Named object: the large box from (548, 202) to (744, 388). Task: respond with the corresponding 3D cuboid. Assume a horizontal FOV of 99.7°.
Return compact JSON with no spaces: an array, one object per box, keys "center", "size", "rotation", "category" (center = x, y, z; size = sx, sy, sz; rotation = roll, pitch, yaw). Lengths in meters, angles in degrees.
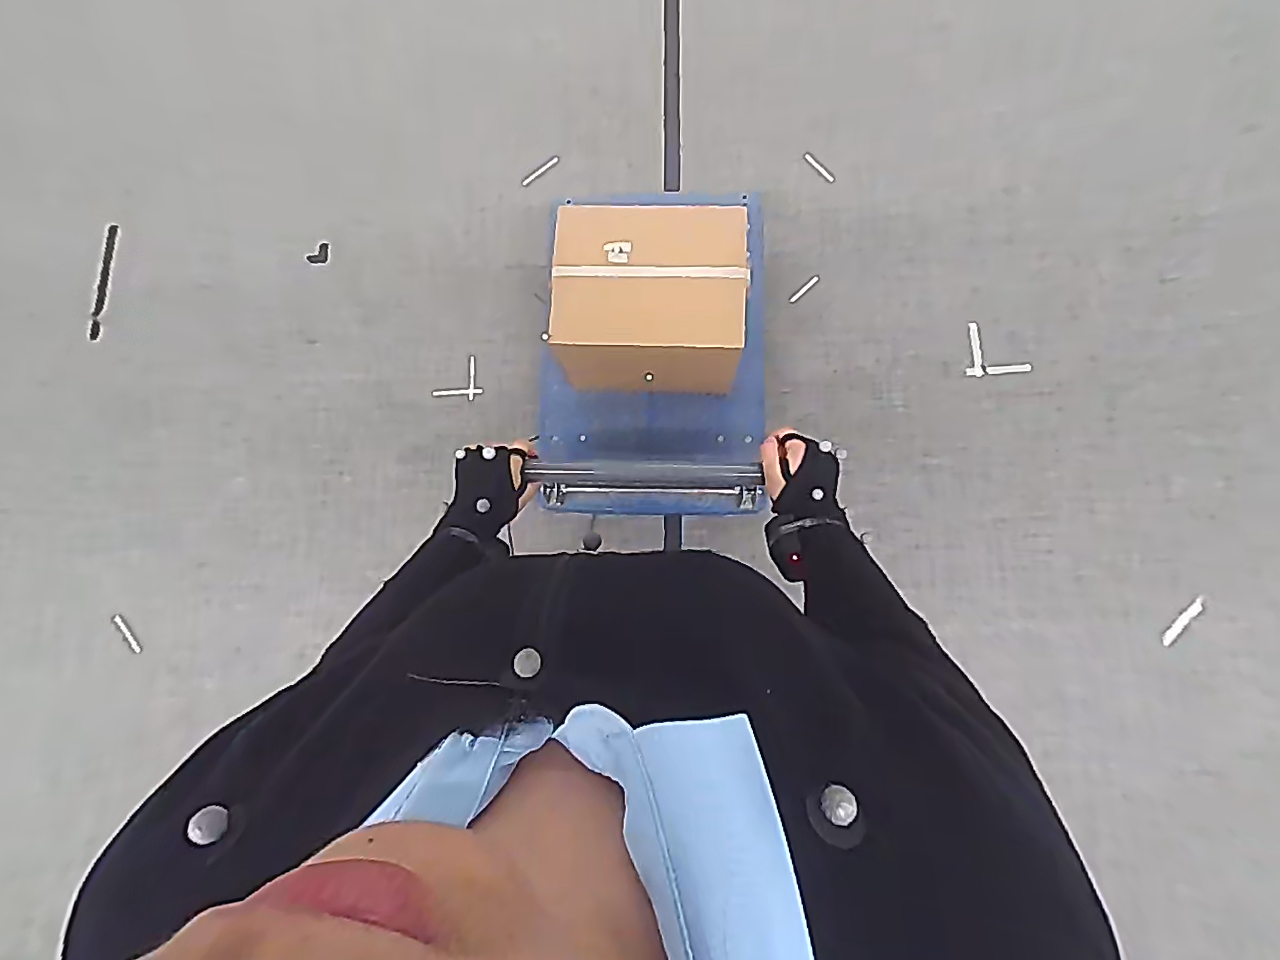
[{"center":[0.027,-0.404,1.255],"size":[0.408,0.320,0.320],"rotation":[2,81,5],"category":"large box"}]
